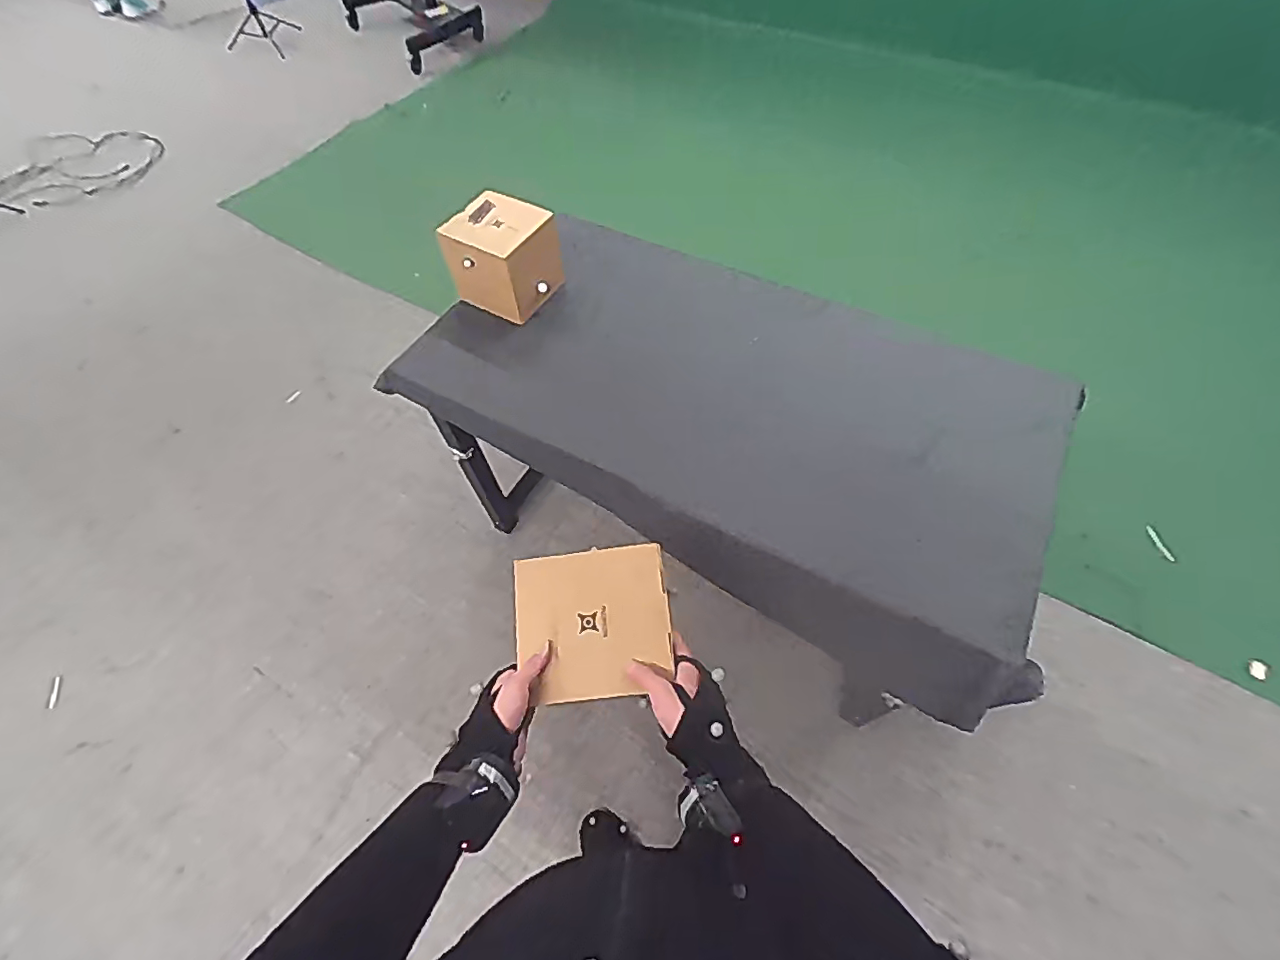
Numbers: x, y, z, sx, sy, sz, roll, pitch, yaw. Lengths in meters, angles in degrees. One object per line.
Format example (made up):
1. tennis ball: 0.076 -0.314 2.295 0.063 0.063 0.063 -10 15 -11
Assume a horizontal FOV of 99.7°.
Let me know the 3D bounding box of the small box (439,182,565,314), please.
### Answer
1. small box: -0.277 -0.477 1.125 0.179 0.176 0.168 27 63 15

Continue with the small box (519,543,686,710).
1. small box: -0.041 0.186 0.675 0.179 0.176 0.168 -8 68 2
